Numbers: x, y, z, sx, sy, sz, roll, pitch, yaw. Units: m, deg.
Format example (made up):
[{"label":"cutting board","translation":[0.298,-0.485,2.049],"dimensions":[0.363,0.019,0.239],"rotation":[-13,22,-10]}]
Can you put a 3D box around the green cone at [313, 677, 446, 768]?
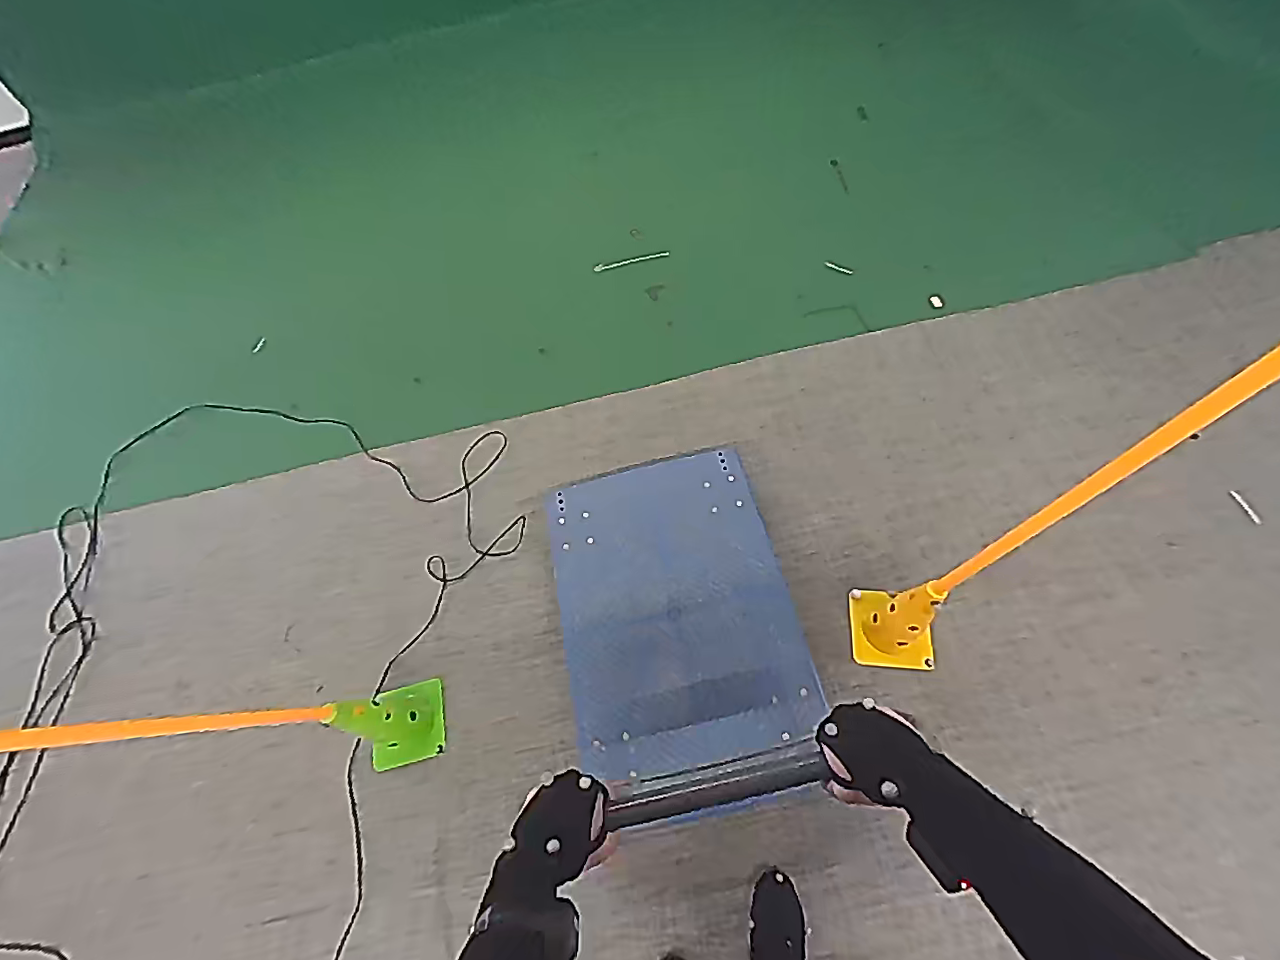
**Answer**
[{"label":"green cone","translation":[-0.662,0.583,1.335],"dimensions":[0.202,0.368,0.200],"rotation":[-18,61,1]}]
